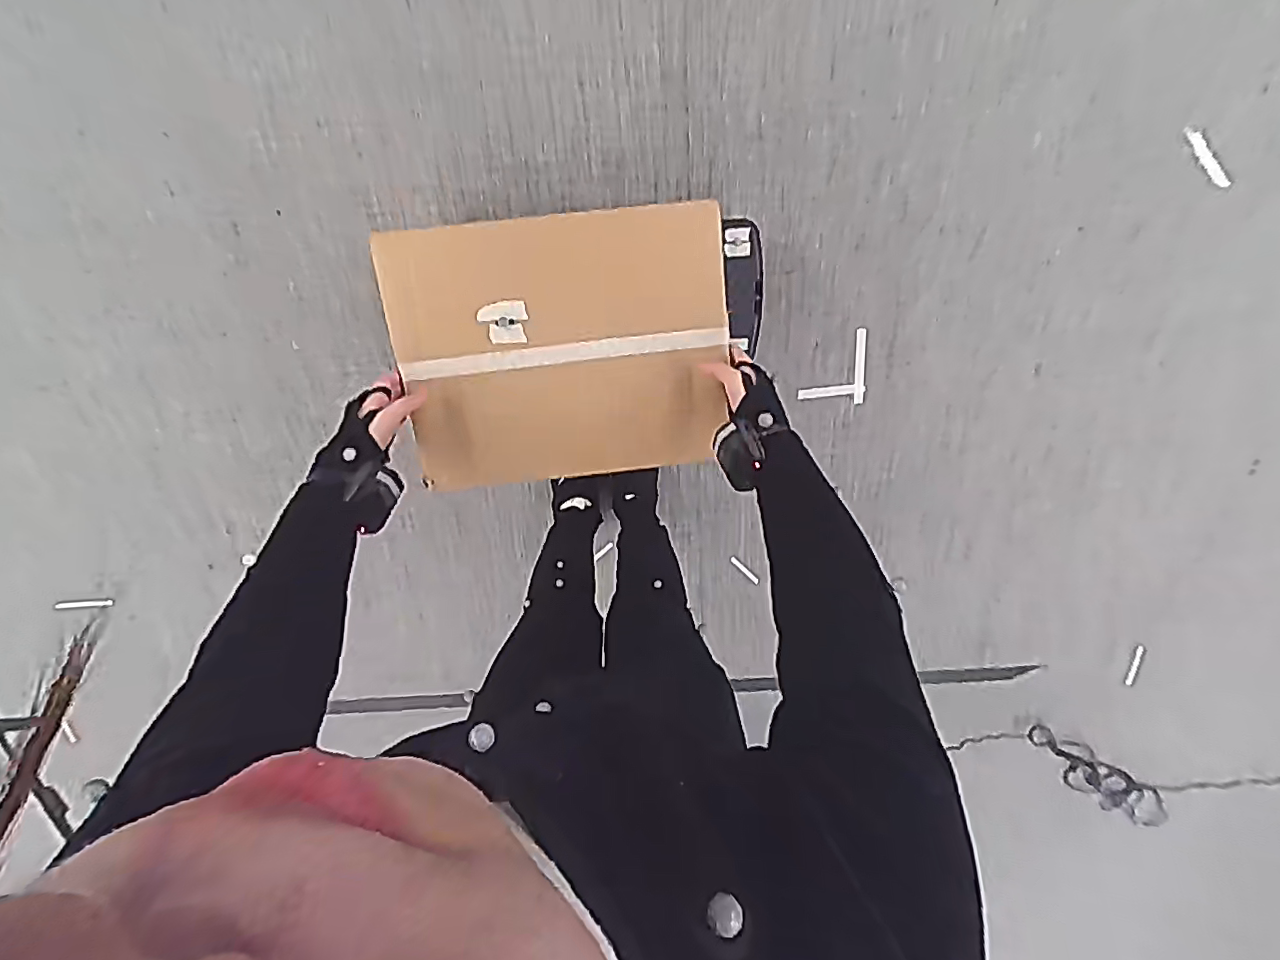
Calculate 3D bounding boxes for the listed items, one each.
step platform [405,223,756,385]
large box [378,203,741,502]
[{"bbox_3d":[-0.112,-0.348,1.098,0.684,0.204,0.286,2,110,-1],"label":"step platform"},{"bbox_3d":[-0.090,-0.183,0.795,0.408,0.320,0.320,-7,105,-1],"label":"large box"}]
